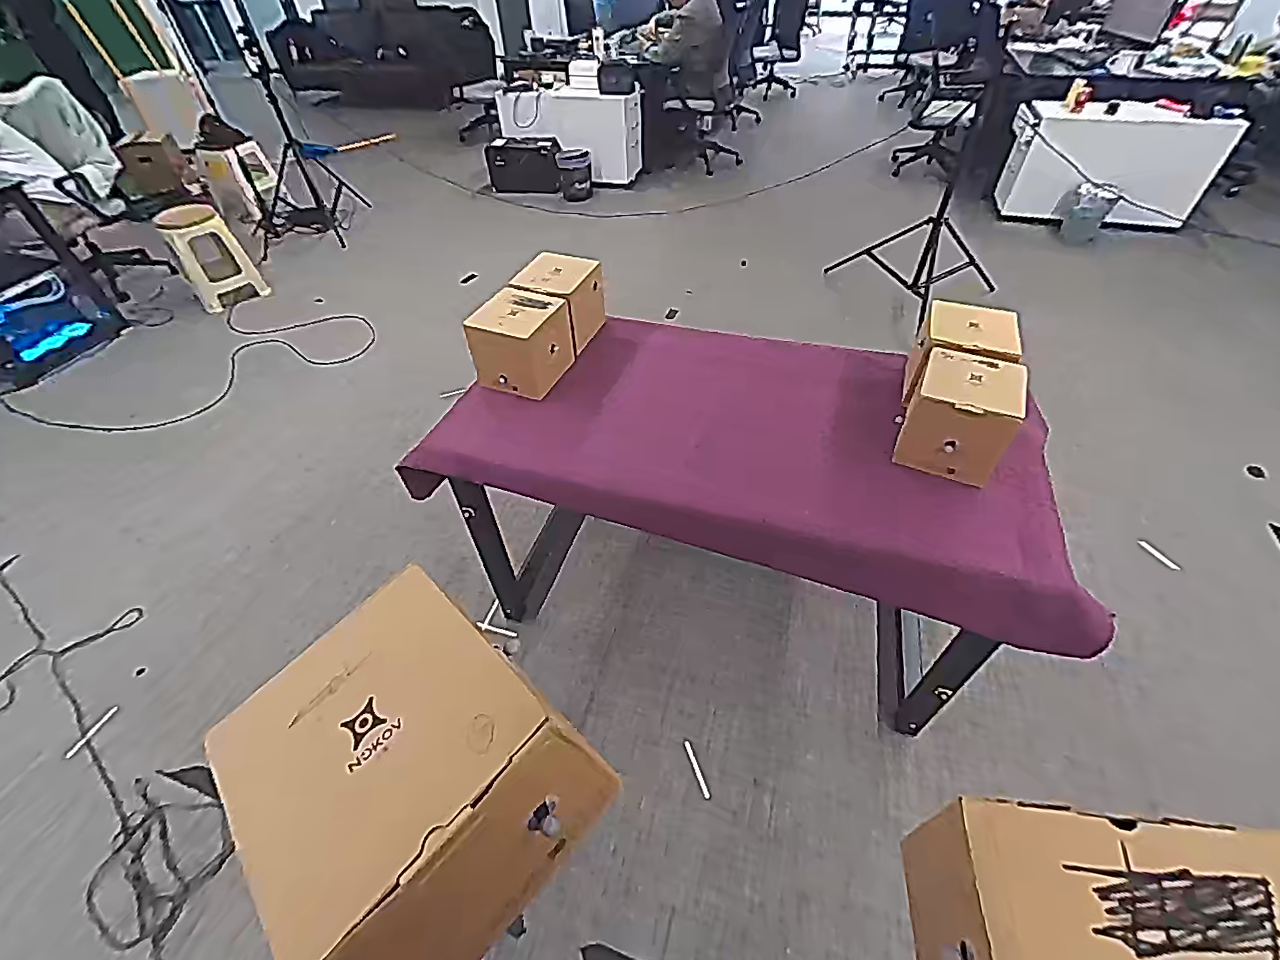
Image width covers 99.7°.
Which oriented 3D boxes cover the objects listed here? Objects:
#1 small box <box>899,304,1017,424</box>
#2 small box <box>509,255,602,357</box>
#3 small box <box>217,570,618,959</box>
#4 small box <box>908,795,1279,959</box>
[{"bbox_3d":[0.669,-0.248,1.155,0.168,0.176,0.179,15,48,15],"label":"small box"},{"bbox_3d":[-0.204,-0.439,1.365,0.168,0.176,0.179,15,50,16],"label":"small box"},{"bbox_3d":[-0.140,0.204,0.387,0.179,0.176,0.168,30,63,36],"label":"small box"},{"bbox_3d":[0.268,0.305,0.307,0.168,0.176,0.179,0,49,12],"label":"small box"}]
